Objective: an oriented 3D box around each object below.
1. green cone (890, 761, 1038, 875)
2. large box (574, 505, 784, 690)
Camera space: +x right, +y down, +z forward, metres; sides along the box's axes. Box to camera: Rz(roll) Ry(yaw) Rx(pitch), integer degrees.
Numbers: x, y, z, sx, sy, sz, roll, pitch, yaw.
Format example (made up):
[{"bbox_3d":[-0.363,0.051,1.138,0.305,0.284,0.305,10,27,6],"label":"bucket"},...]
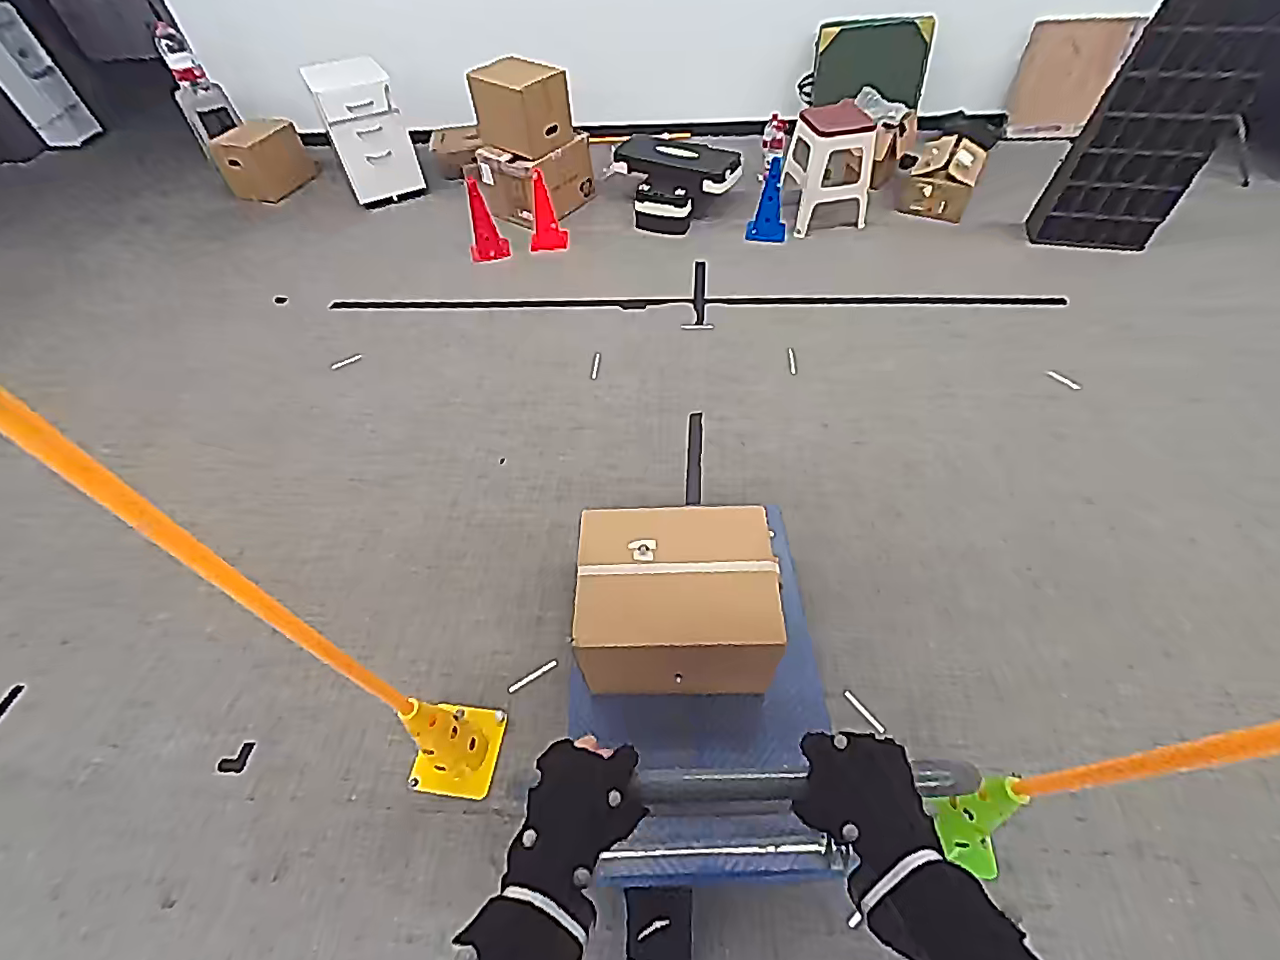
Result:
[{"bbox_3d":[0.669,0.646,1.077,0.202,0.368,0.200,6,52,6],"label":"green cone"},{"bbox_3d":[0.081,0.275,1.223,0.408,0.320,0.320,-2,53,3],"label":"large box"}]
